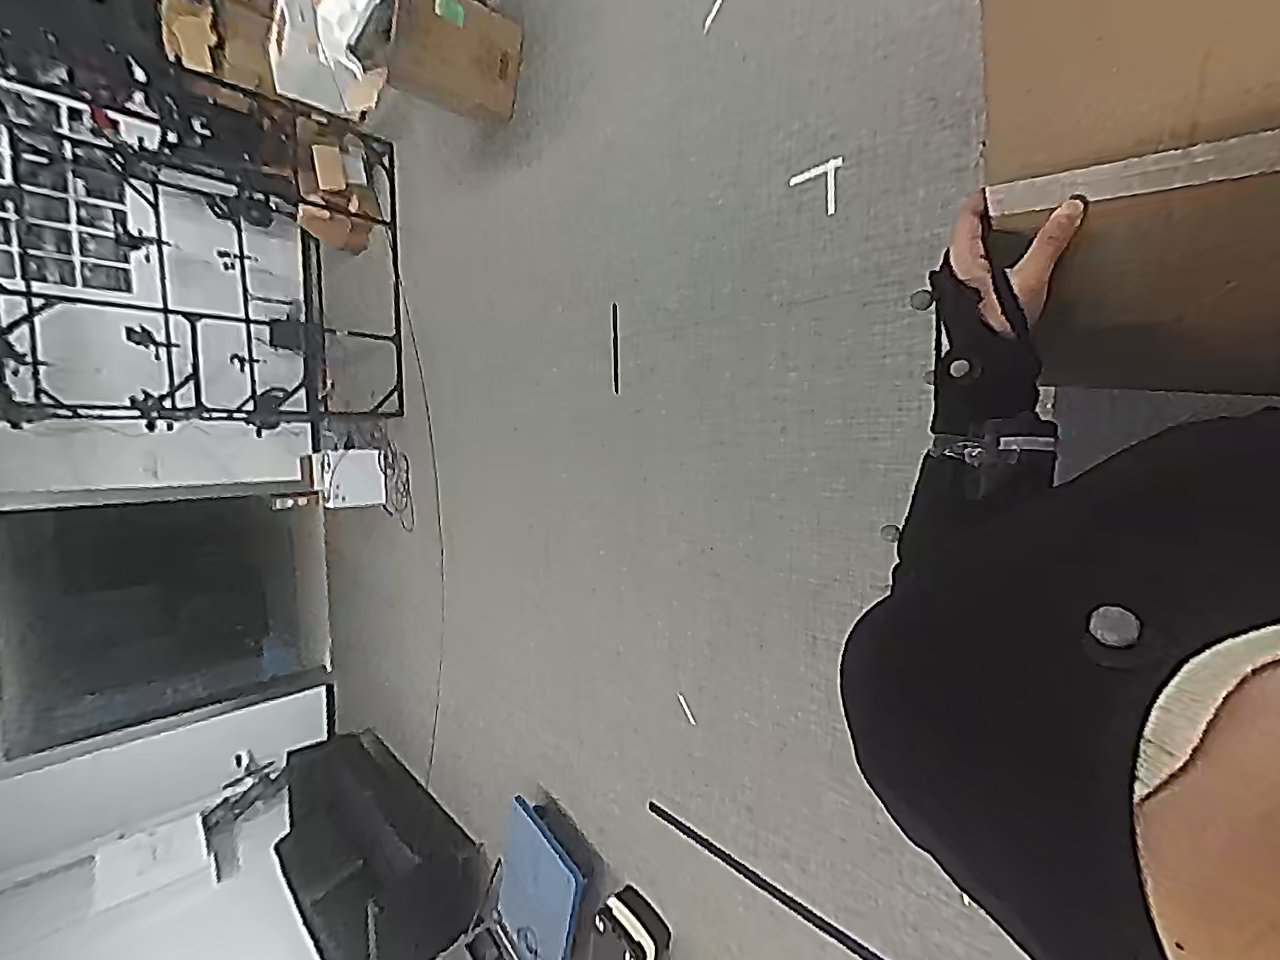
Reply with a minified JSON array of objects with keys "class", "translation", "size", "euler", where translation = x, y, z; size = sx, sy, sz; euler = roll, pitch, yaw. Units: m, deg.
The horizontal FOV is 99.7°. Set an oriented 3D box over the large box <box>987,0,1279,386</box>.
[{"class":"large box","translation":[0.479,-0.264,0.303],"size":[0.408,0.320,0.320],"euler":[14,142,47]}]
